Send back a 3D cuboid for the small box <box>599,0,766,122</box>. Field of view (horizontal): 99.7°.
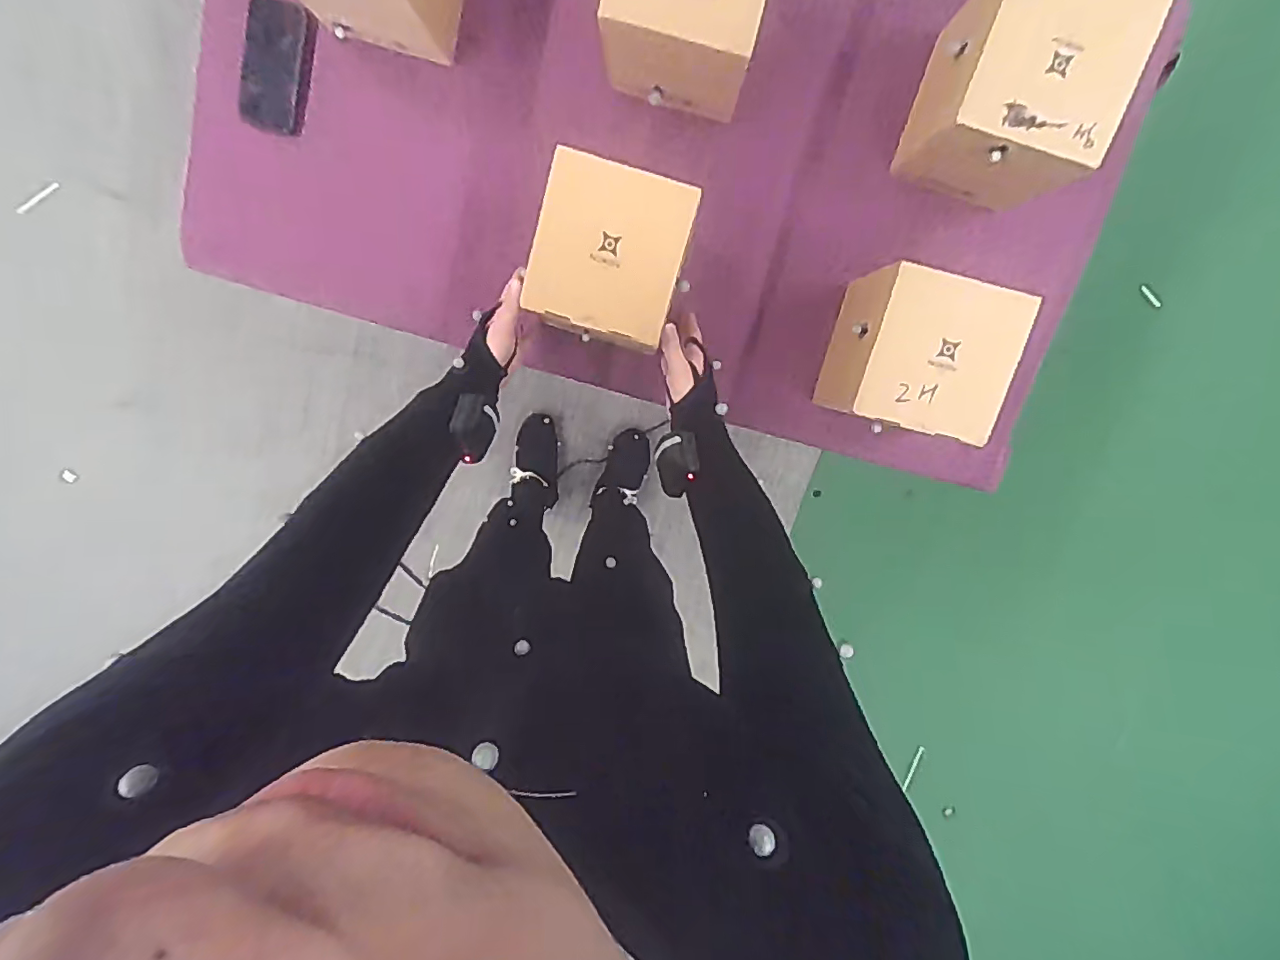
[{"bbox_3d":[0.059,-0.552,0.613,0.168,0.176,0.179,15,103,-1],"label":"small box"}]

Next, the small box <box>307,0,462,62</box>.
[{"bbox_3d":[-0.300,-0.621,0.607,0.168,0.176,0.179,15,102,-2],"label":"small box"}]

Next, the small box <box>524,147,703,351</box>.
[{"bbox_3d":[-0.030,-0.270,0.676,0.168,0.176,0.179,16,102,-1],"label":"small box"}]

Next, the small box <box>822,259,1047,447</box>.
[{"bbox_3d":[0.350,-0.157,0.685,0.168,0.176,0.179,15,103,0],"label":"small box"}]

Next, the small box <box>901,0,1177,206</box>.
[{"bbox_3d":[0.434,-0.448,0.622,0.168,0.176,0.179,17,102,-1],"label":"small box"}]
